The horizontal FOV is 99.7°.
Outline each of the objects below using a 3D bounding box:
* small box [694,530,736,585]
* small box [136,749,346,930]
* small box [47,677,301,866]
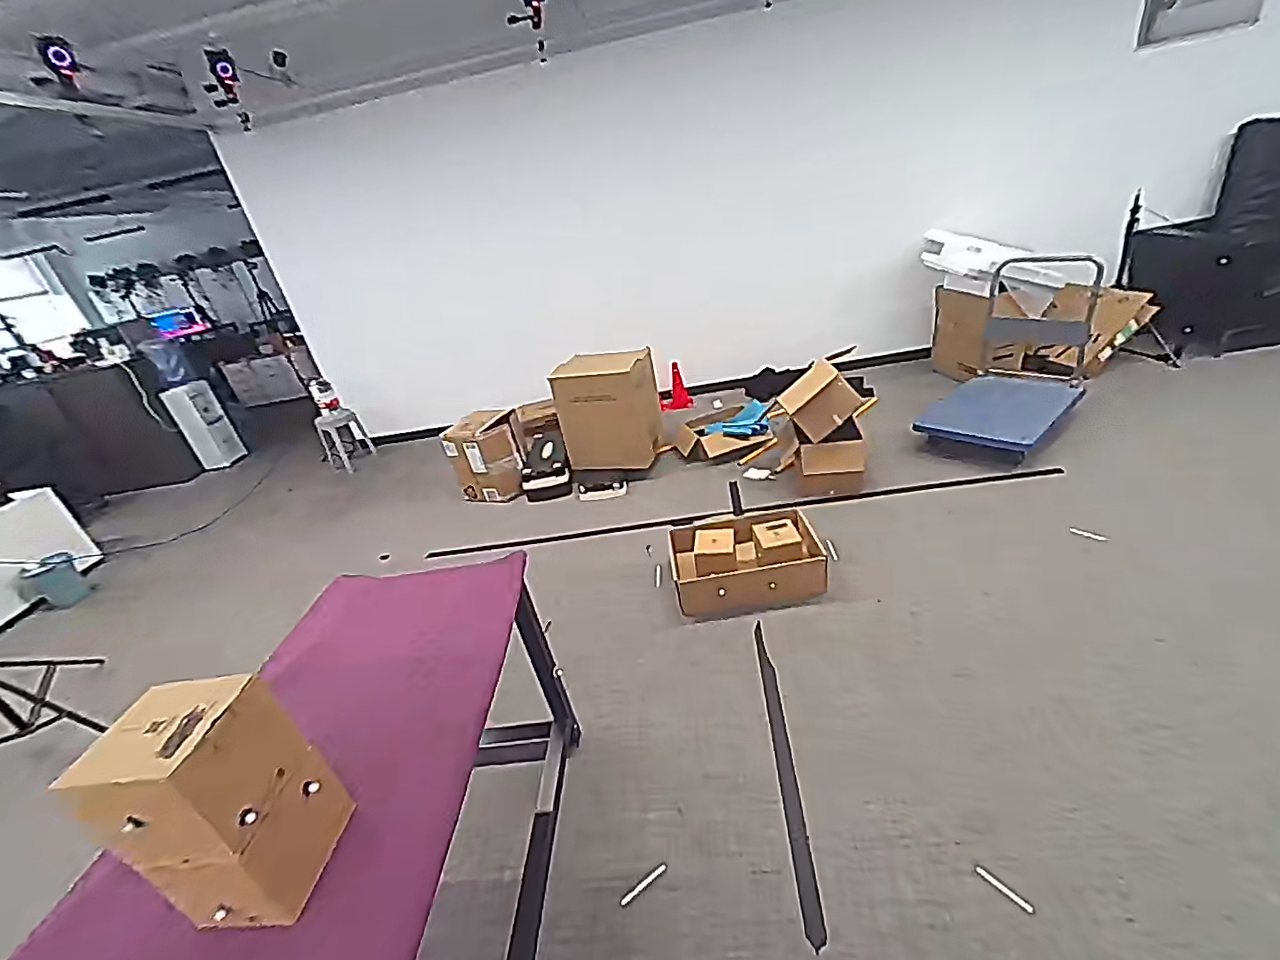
[{"bbox_3d":[0.328,0.337,2.349,0.168,0.176,0.179,-4,28,12],"label":"small box"},{"bbox_3d":[-0.592,0.550,0.835,0.168,0.176,0.179,-9,27,8],"label":"small box"},{"bbox_3d":[-0.630,0.408,0.762,0.179,0.176,0.168,-9,27,7],"label":"small box"}]
